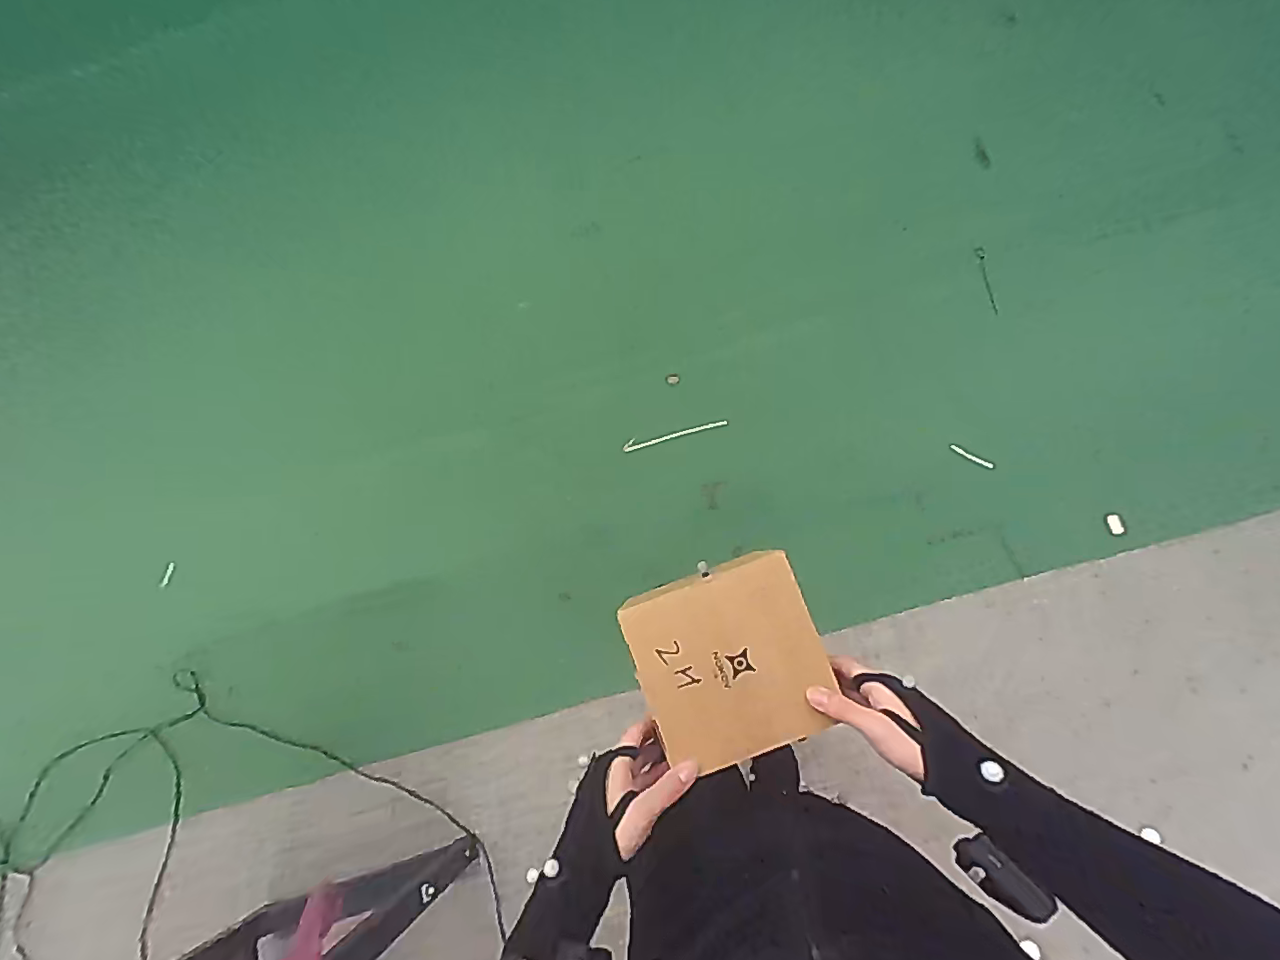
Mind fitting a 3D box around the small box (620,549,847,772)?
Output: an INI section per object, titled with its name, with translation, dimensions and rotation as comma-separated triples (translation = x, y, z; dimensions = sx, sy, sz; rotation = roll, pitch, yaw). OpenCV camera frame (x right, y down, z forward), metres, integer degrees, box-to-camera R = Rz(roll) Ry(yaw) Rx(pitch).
[small box]
translation = 0.090, 0.178, 0.590
dimensions = 0.179, 0.176, 0.168
rotation = -20, 81, 1
